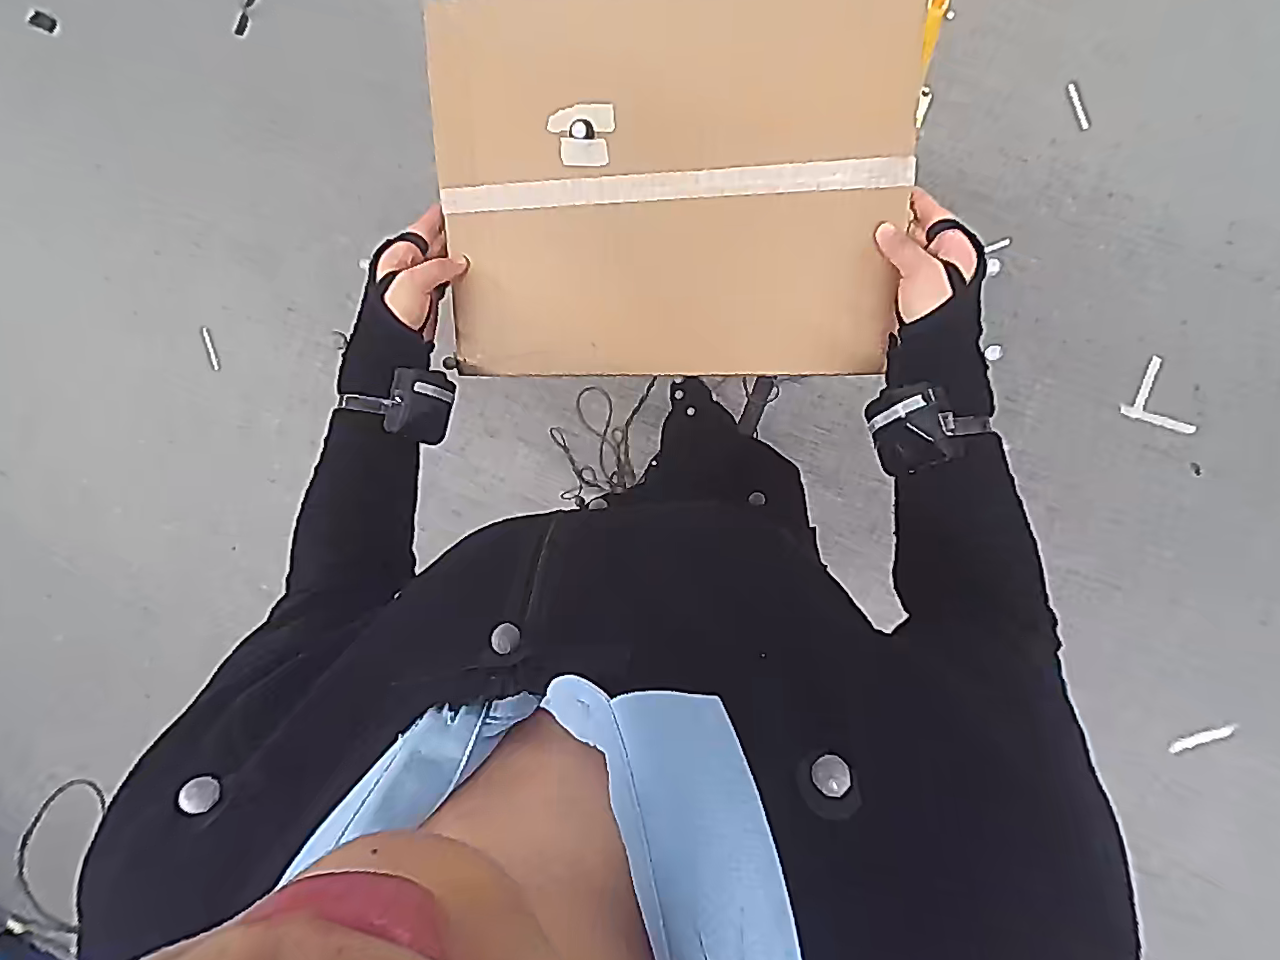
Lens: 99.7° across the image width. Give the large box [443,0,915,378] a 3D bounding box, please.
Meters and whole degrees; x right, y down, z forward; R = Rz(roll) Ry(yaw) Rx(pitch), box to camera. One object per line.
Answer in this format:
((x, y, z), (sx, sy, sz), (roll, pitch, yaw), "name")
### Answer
((0.049, -0.286, 0.622), (0.408, 0.320, 0.320), (1, 103, 10), "large box")
